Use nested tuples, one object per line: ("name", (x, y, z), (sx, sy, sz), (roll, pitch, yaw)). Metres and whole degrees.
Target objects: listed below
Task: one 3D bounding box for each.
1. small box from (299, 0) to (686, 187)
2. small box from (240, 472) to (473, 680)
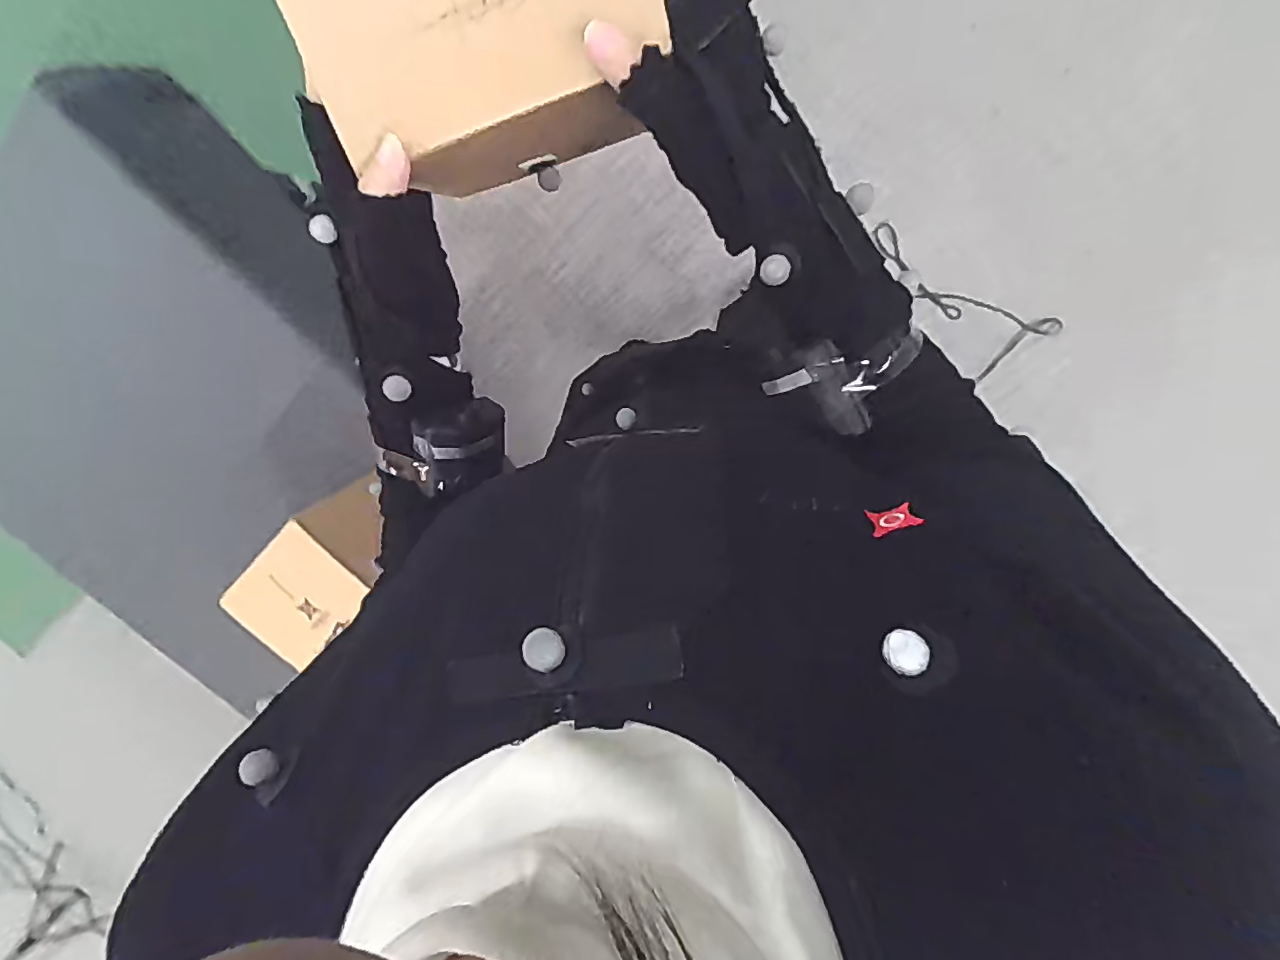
("small box", (-0.077, -0.285, 0.297), (0.168, 0.176, 0.179), (-14, 113, 9))
("small box", (-0.357, 0.117, 0.715), (0.168, 0.176, 0.179), (-41, 100, 18))
